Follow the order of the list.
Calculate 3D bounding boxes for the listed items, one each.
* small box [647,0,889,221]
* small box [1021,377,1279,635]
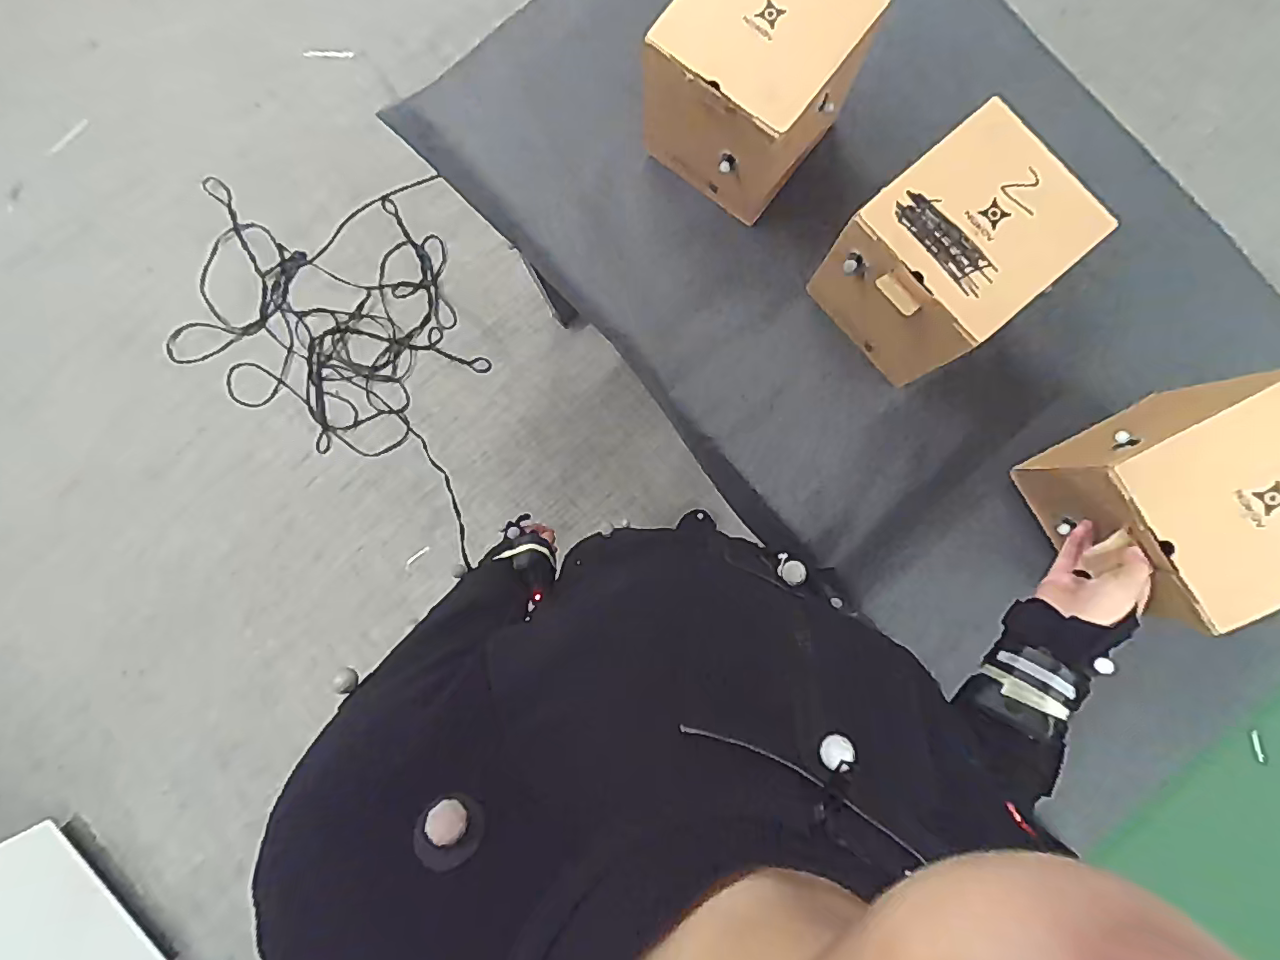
[{"bbox_3d":[0.125,-0.430,0.594,0.168,0.176,0.179,38,88,3],"label":"small box"},{"bbox_3d":[0.529,0.017,0.523,0.179,0.176,0.168,-31,85,8],"label":"small box"}]
